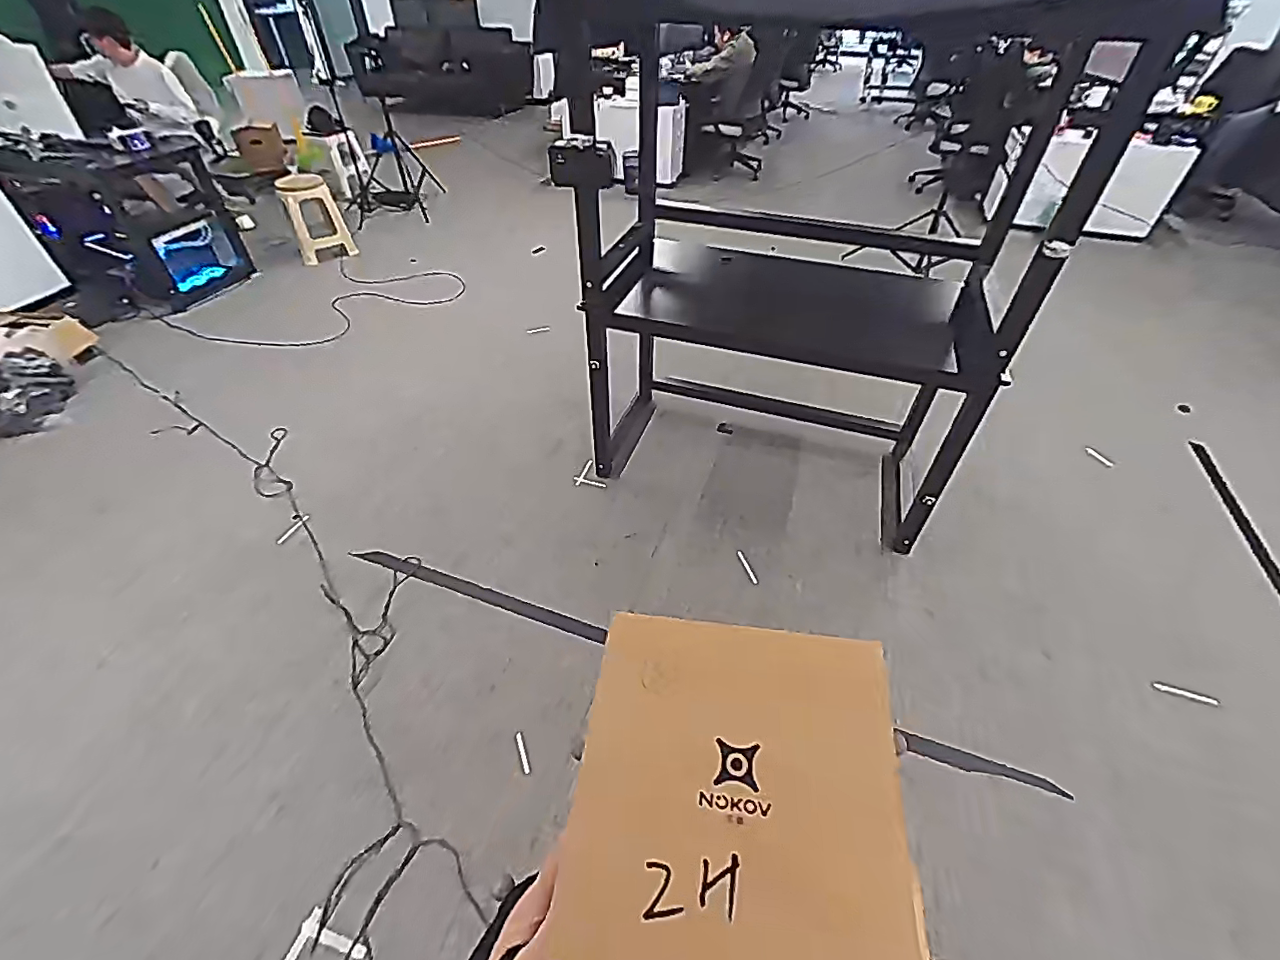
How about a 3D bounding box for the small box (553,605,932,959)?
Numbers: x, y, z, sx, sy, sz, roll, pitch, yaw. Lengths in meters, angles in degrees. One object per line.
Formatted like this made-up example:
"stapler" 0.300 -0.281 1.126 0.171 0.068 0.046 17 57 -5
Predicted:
"small box" 0.061 0.202 0.339 0.168 0.176 0.179 4 52 10
